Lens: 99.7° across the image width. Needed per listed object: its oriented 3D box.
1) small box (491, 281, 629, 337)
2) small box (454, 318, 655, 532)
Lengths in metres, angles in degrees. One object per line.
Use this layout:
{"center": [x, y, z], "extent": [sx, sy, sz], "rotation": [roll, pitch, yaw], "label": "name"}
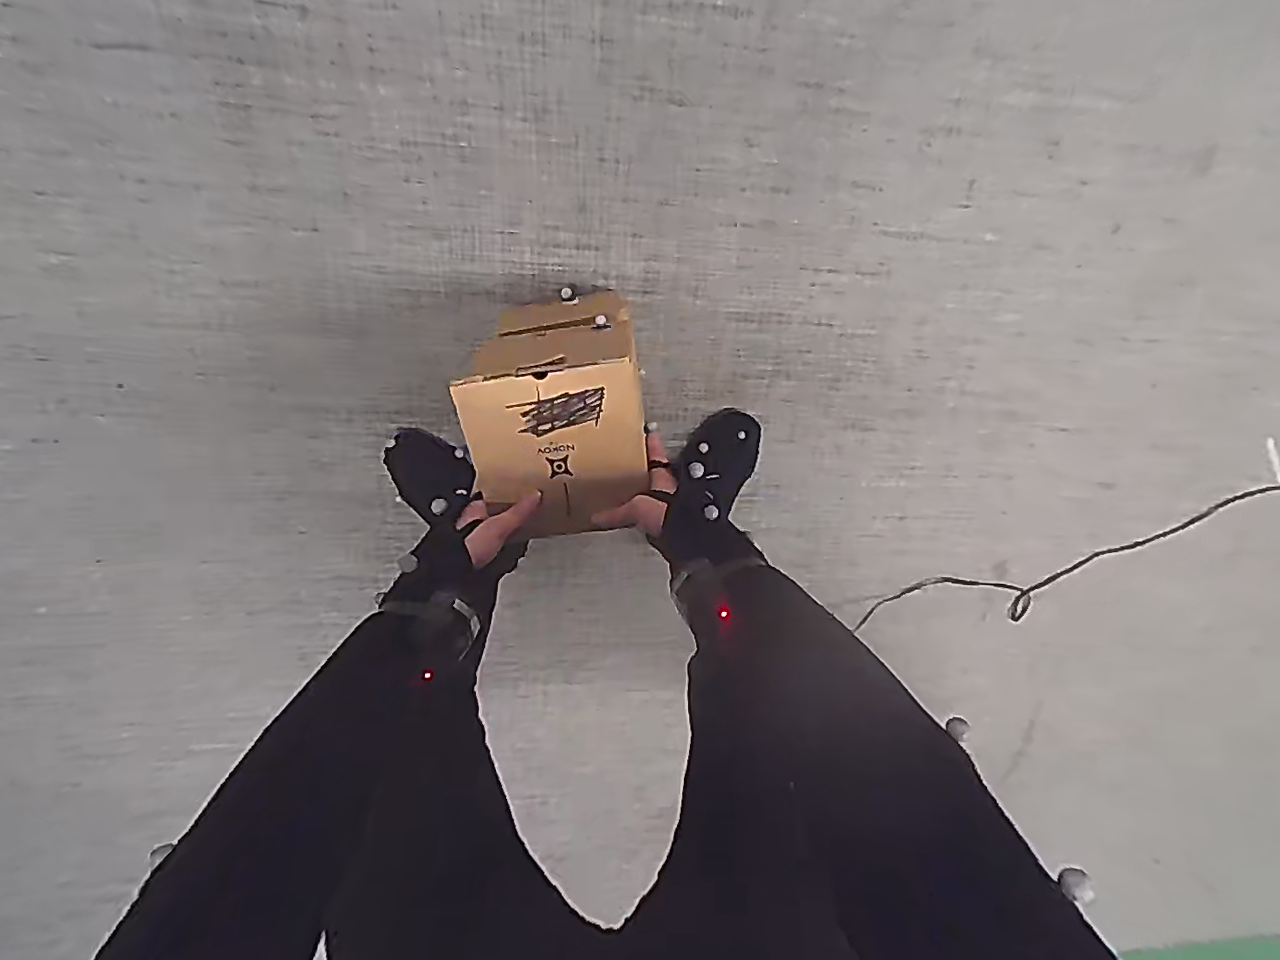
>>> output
{"center": [-0.093, -0.162, 0.752], "extent": [0.168, 0.176, 0.179], "rotation": [-11, 118, -2], "label": "small box"}
{"center": [-0.078, -0.069, 0.587], "extent": [0.168, 0.176, 0.179], "rotation": [-7, 120, 4], "label": "small box"}
